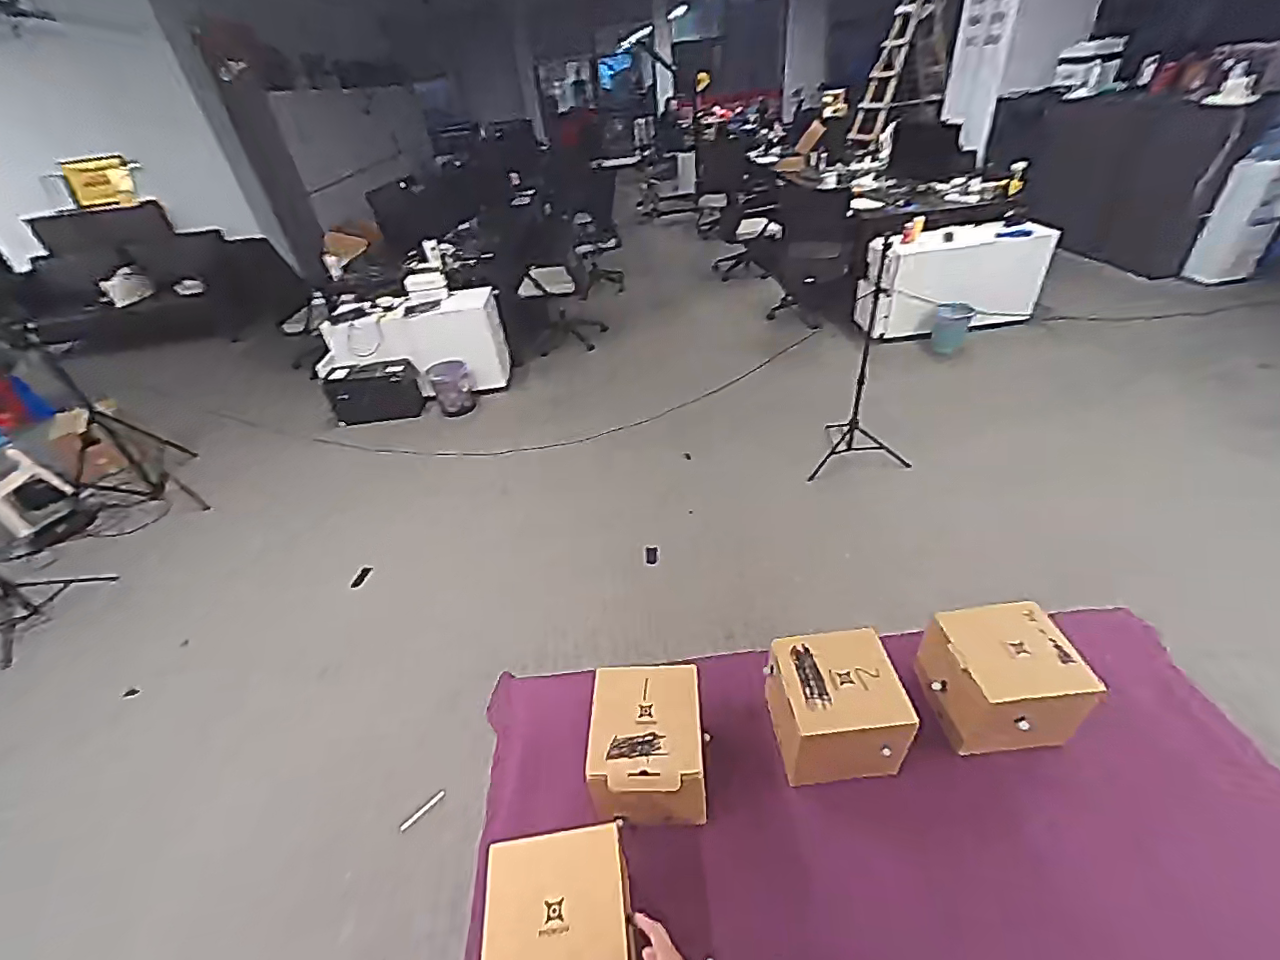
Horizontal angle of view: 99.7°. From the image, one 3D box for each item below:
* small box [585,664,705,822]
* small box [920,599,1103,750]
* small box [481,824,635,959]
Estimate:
[{"bbox_3d":[0.014,0.417,0.855,0.168,0.176,0.179,-3,37,4],"label":"small box"},{"bbox_3d":[0.585,0.321,0.887,0.179,0.176,0.168,-7,39,1],"label":"small box"},{"bbox_3d":[-0.095,0.567,0.670,0.168,0.176,0.179,-7,37,-4],"label":"small box"}]
